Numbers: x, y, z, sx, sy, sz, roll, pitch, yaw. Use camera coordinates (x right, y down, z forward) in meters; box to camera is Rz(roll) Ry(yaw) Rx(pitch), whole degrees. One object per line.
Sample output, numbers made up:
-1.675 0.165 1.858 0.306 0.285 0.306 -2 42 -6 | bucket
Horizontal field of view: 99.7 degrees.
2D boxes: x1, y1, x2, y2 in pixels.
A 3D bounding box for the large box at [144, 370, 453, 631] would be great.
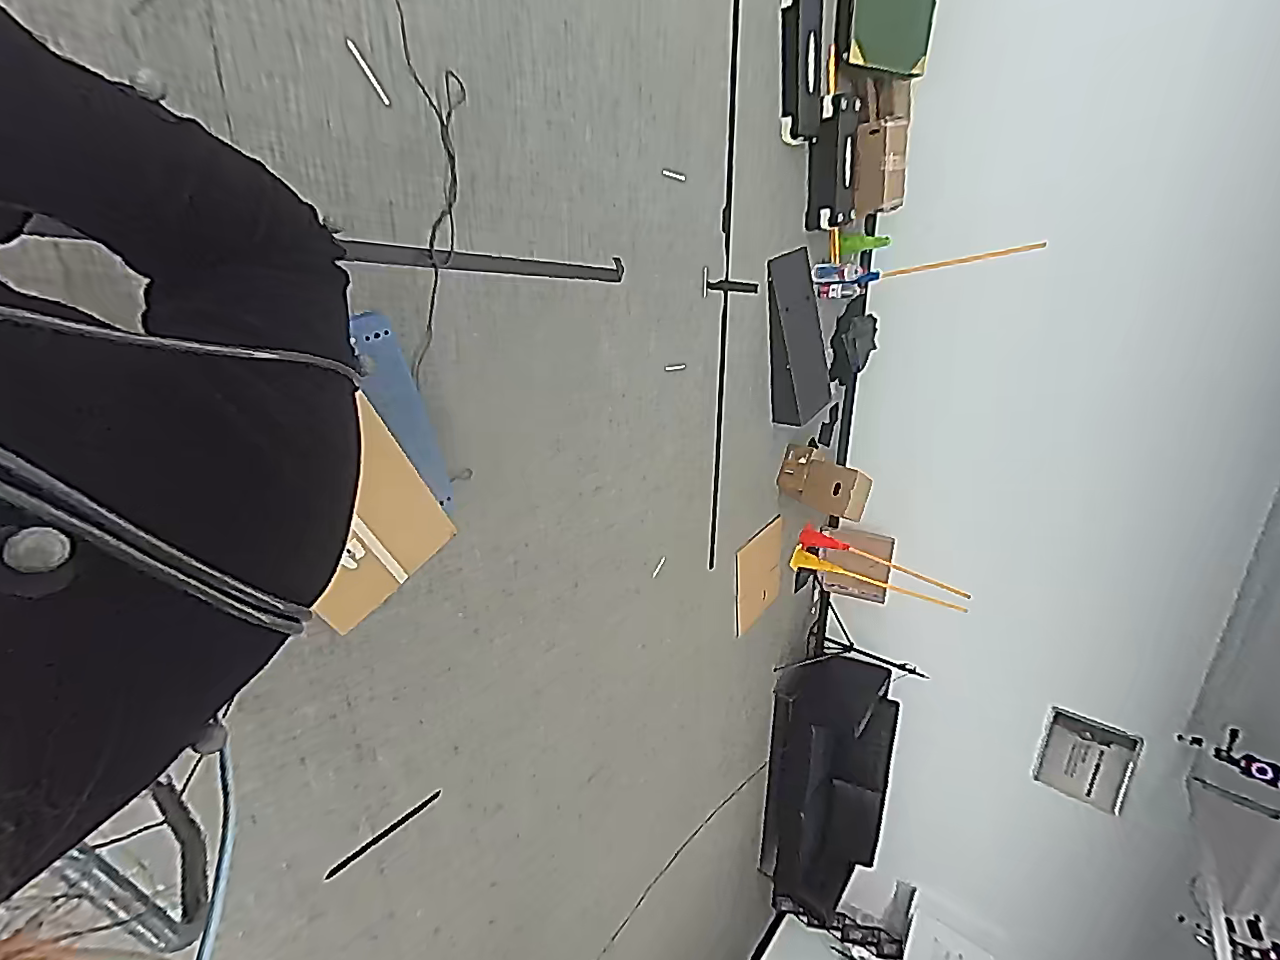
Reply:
-0.681 0.031 1.122 0.320 0.320 0.408 -47 135 -31 | large box
